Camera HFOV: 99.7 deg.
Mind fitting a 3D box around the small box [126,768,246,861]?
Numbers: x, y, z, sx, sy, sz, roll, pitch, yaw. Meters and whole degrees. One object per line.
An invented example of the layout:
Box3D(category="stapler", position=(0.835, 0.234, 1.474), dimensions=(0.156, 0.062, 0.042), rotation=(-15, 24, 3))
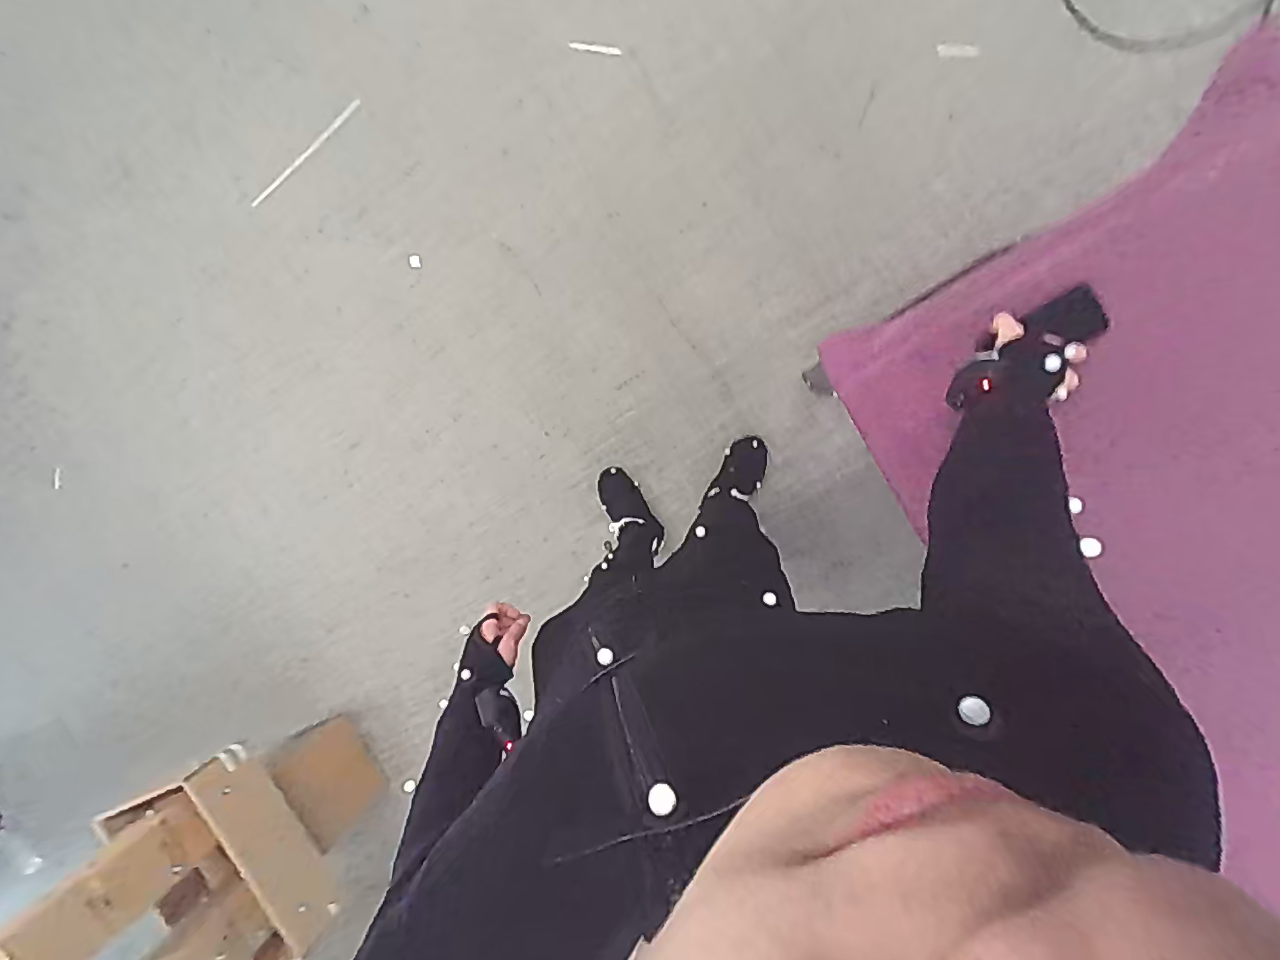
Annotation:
Box3D(category="small box", position=(-1.302, 0.976, 1.561), dimensions=(0.179, 0.176, 0.168), rotation=(-26, 95, 13))

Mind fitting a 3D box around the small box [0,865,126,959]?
Box3D(category="small box", position=(-1.359, 1.040, 1.244), dimensions=(0.179, 0.176, 0.168), rotation=(-27, 95, 14))

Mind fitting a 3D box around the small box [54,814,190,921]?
Box3D(category="small box", position=(-1.325, 1.007, 1.401), dimensions=(0.179, 0.176, 0.168), rotation=(-24, 95, 14))

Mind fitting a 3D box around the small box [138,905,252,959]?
Box3D(category="small box", position=(-1.188, 1.278, 1.429), dimensions=(0.179, 0.176, 0.168), rotation=(-23, 97, 14))
